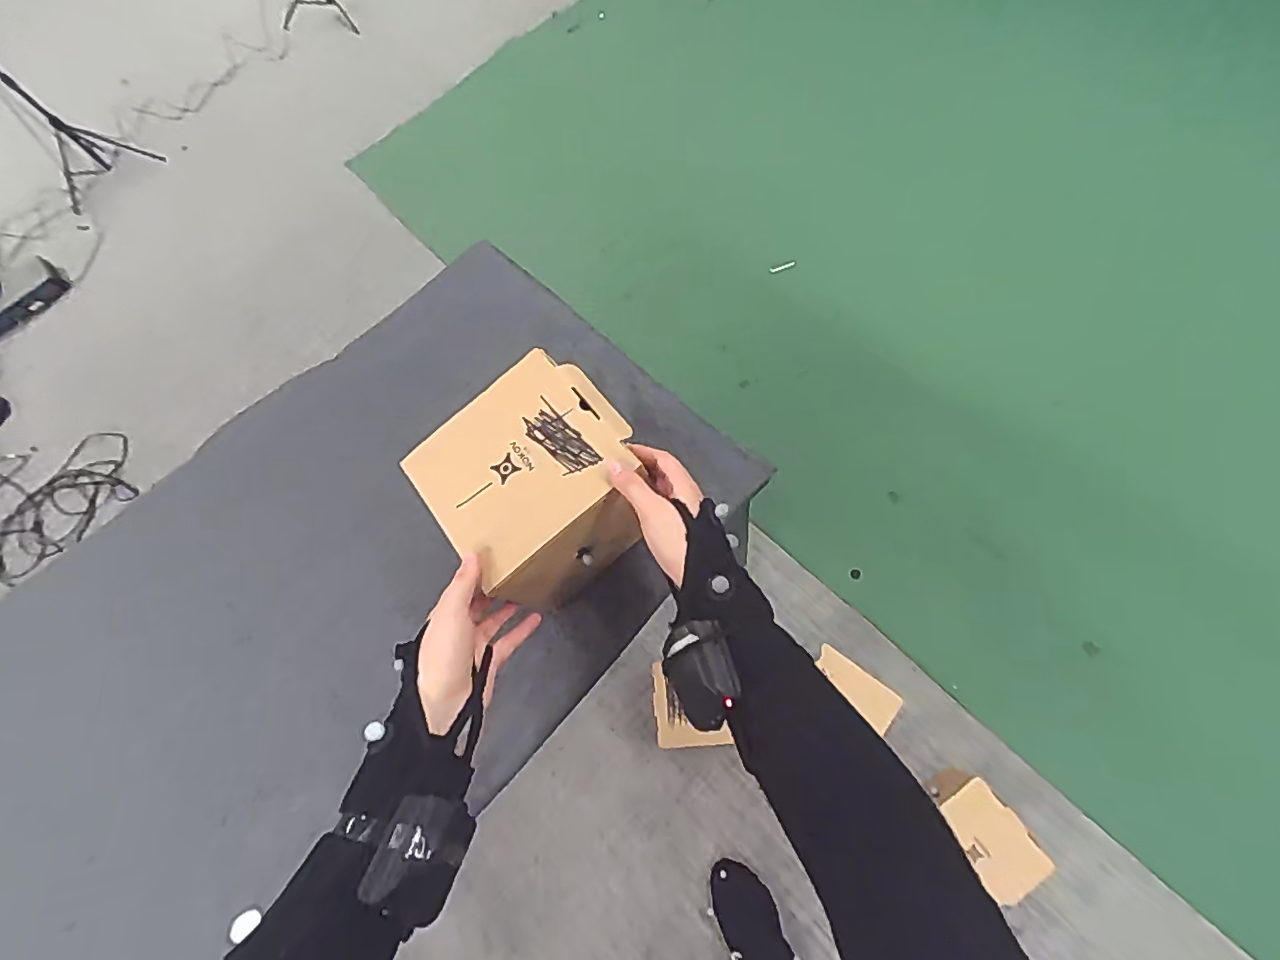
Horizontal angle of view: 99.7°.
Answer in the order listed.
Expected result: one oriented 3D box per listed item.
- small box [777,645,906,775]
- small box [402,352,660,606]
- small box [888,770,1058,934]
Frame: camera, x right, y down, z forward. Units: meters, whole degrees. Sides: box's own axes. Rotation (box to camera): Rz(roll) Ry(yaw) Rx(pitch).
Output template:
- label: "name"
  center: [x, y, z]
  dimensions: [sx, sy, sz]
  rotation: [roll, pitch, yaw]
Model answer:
- label: "small box"
  center: [0.401, 0.462, 1.104]
  dimensions: [0.179, 0.176, 0.168]
  rotation: [35, 77, 22]
- label: "small box"
  center: [-0.094, 0.011, 0.557]
  dimensions: [0.179, 0.176, 0.168]
  rotation: [-40, 69, 0]
- label: "small box"
  center: [0.589, 0.659, 0.986]
  dimensions: [0.179, 0.176, 0.168]
  rotation: [-34, 66, -5]
